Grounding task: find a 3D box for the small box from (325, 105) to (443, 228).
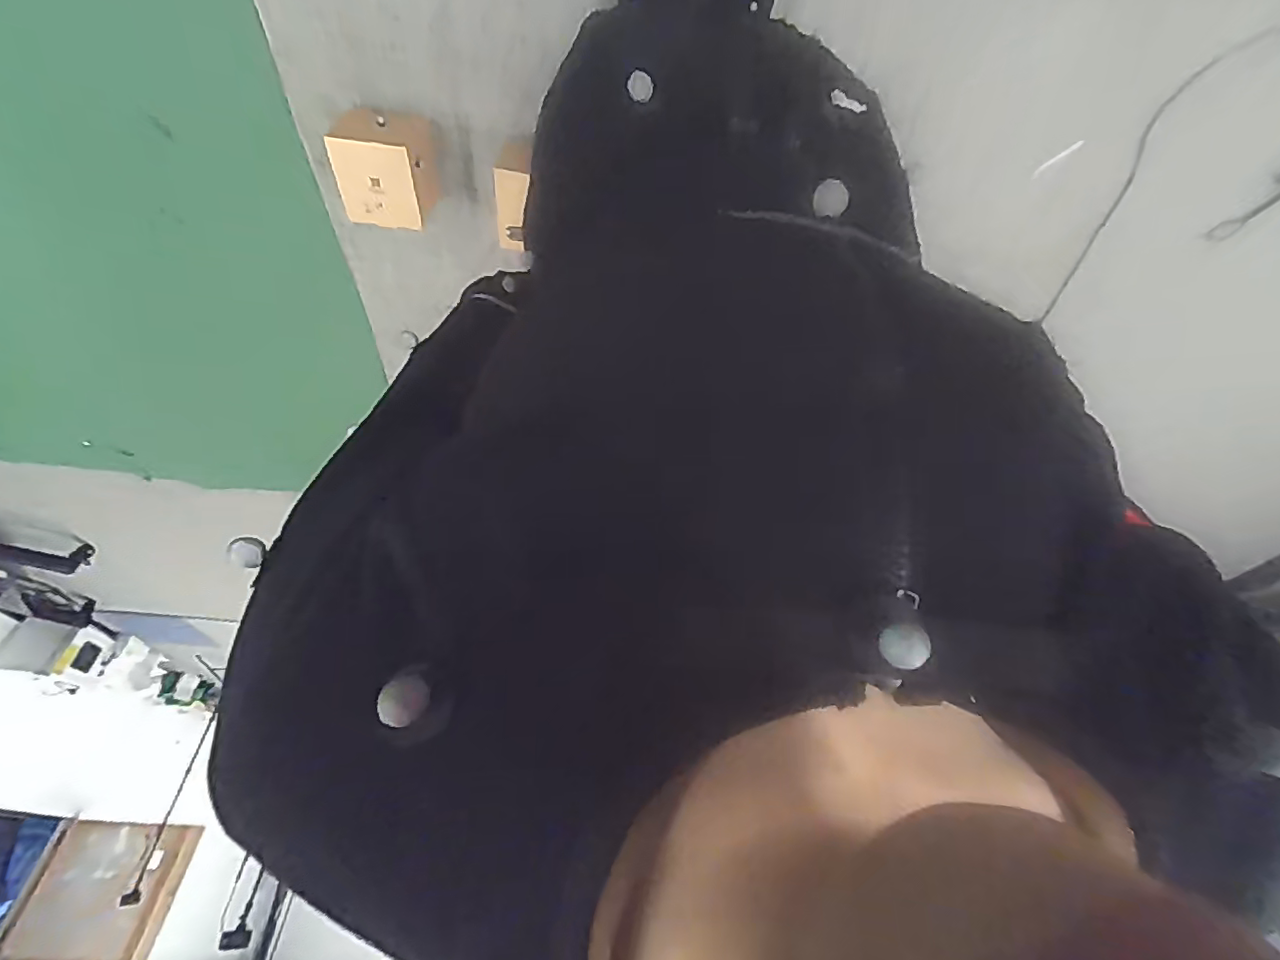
[{"bbox_3d":[-0.544,-0.683,1.175,0.168,0.176,0.179,7,142,-3],"label":"small box"}]
